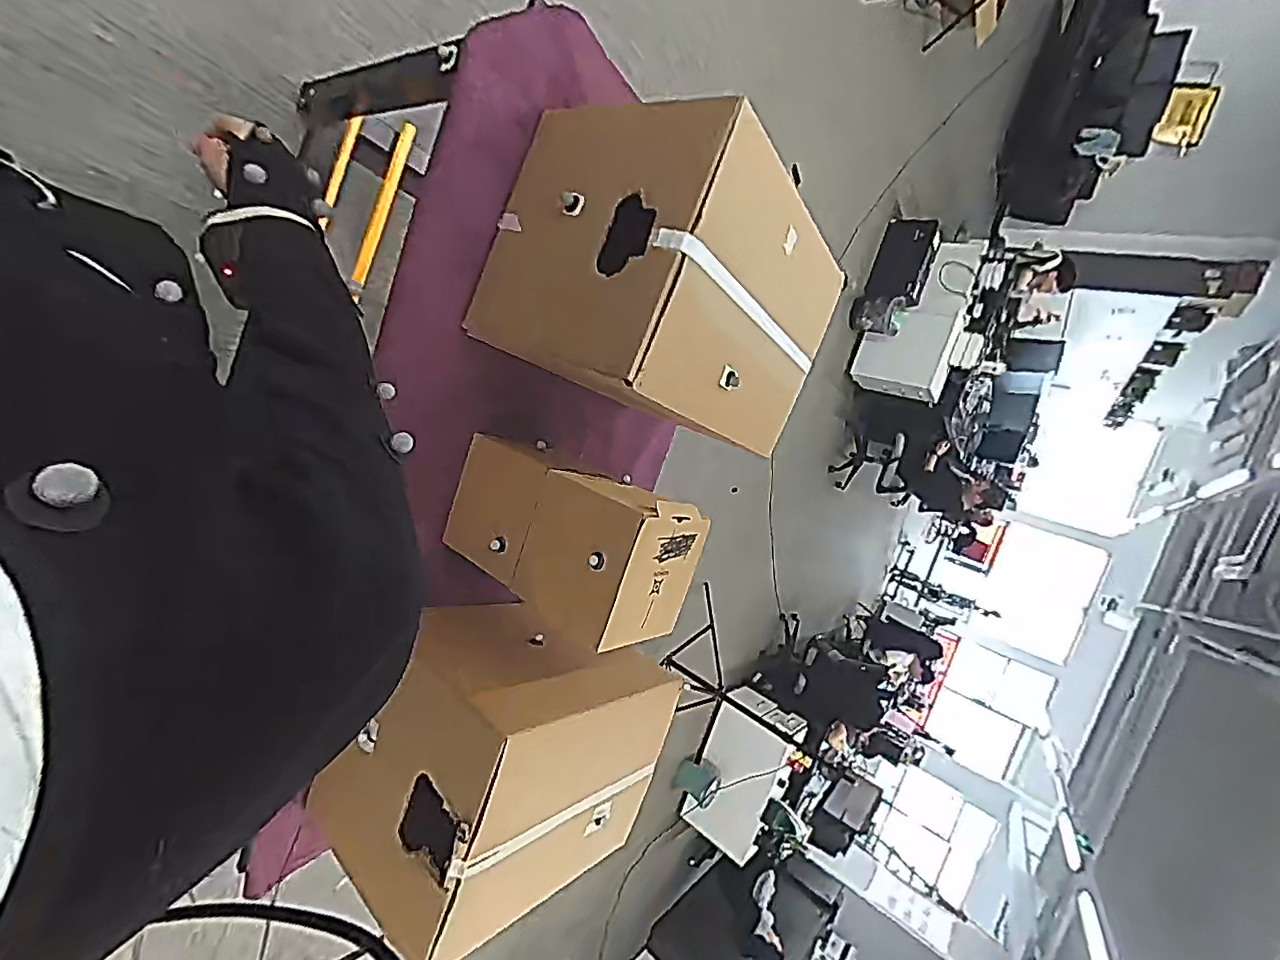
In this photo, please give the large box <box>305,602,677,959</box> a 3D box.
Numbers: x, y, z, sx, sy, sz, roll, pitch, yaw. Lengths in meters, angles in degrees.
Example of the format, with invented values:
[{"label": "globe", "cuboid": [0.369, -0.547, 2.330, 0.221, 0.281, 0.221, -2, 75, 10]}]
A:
[{"label": "large box", "cuboid": [-0.208, 0.400, 0.833, 0.408, 0.320, 0.320, 15, 97, -57]}]
